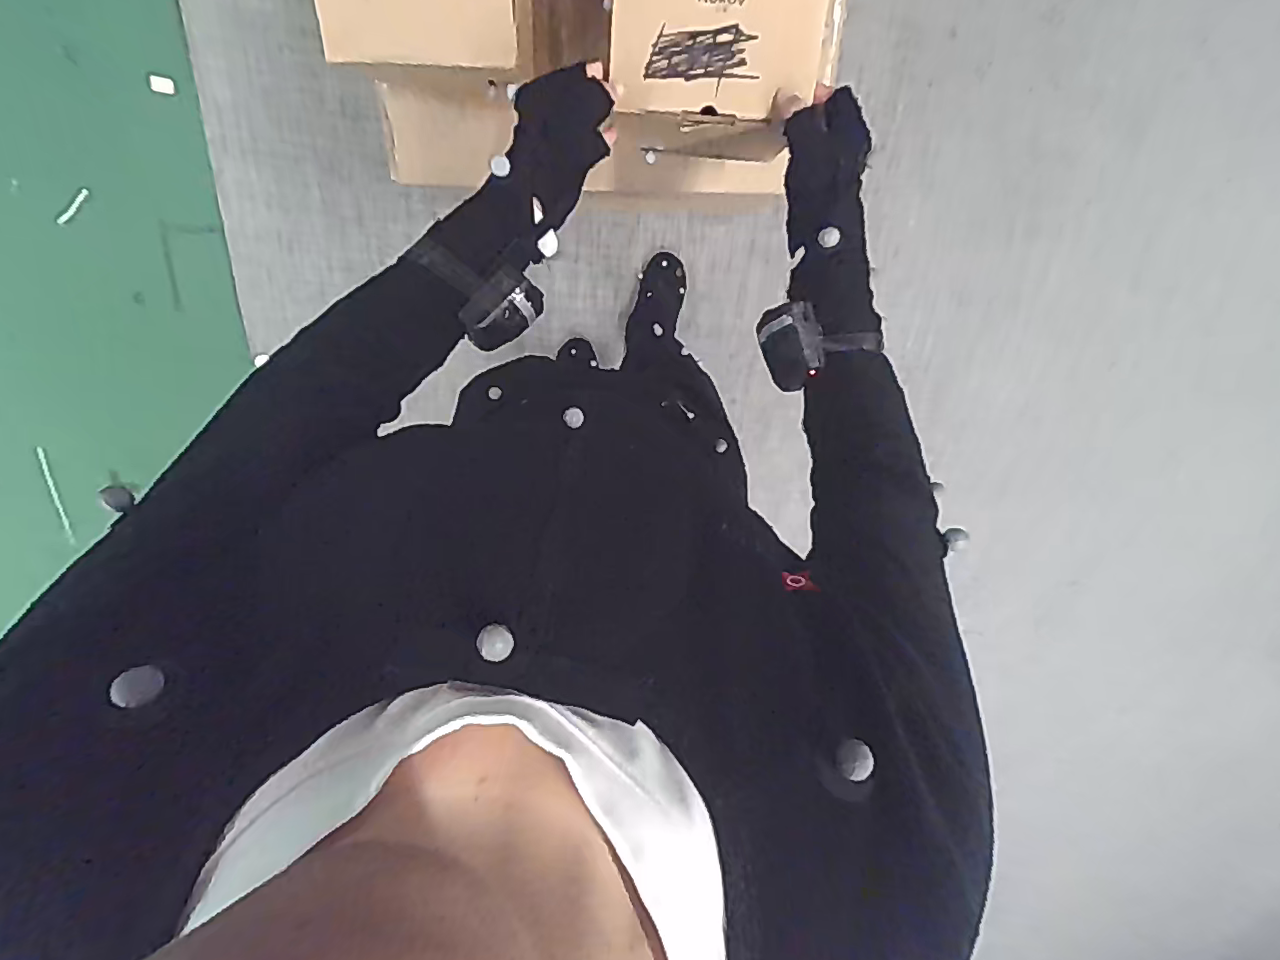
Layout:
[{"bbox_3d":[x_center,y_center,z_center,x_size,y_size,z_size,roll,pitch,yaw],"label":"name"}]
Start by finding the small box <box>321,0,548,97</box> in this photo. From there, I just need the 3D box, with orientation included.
[{"bbox_3d":[-0.189,-0.485,0.524,0.179,0.176,0.168,2,118,2],"label":"small box"}]

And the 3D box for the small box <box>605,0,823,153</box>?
[{"bbox_3d":[0.064,-0.409,0.483,0.168,0.176,0.179,5,110,1],"label":"small box"}]
